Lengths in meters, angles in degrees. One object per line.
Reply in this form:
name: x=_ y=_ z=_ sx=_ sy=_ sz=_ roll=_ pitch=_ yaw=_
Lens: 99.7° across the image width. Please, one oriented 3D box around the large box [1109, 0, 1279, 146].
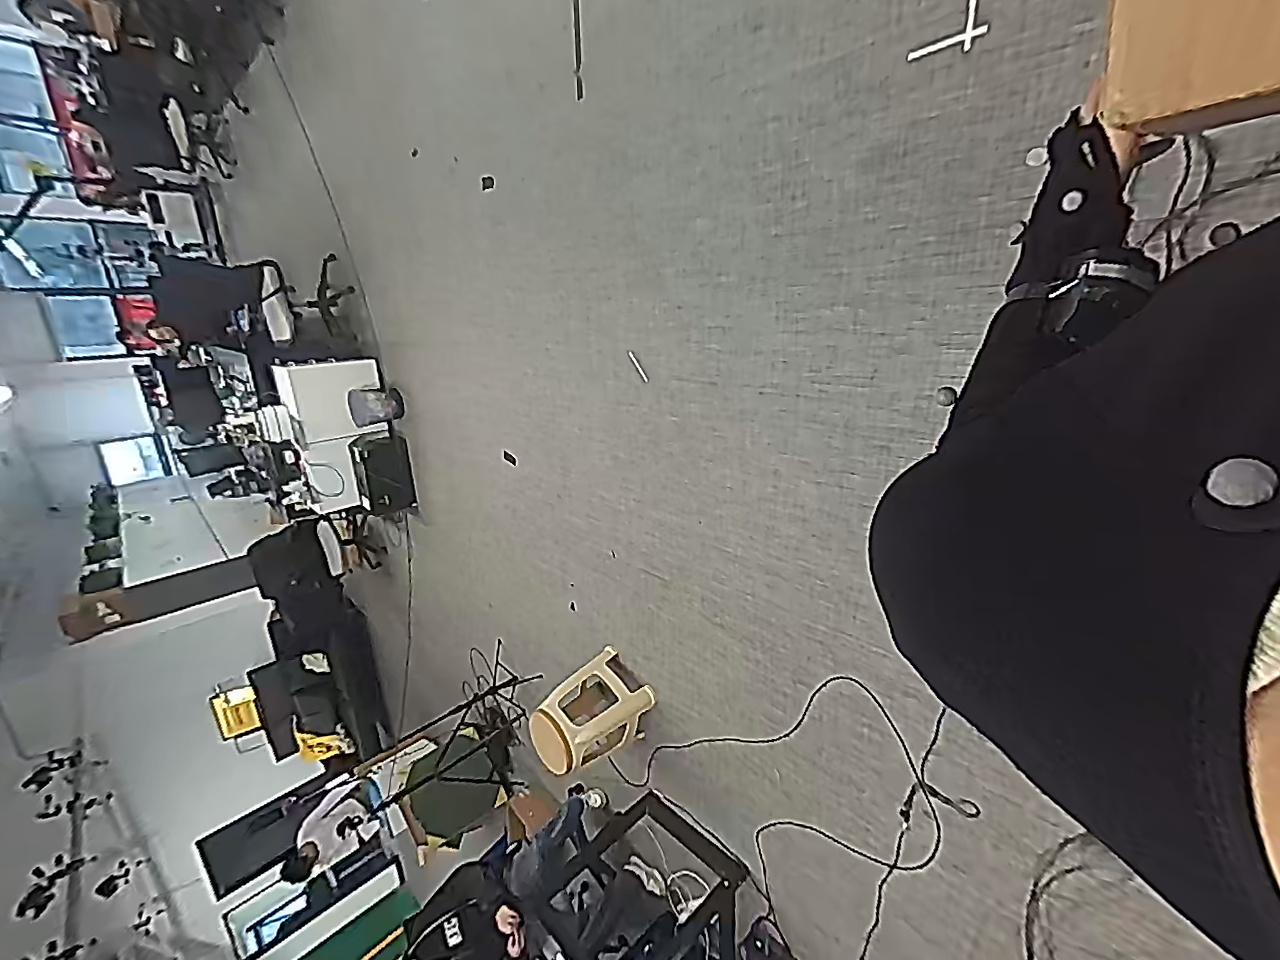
large box: x=0.427 y=-0.332 z=0.158 sx=0.408 sy=0.320 sz=0.320 roll=10 pitch=120 yaw=43
